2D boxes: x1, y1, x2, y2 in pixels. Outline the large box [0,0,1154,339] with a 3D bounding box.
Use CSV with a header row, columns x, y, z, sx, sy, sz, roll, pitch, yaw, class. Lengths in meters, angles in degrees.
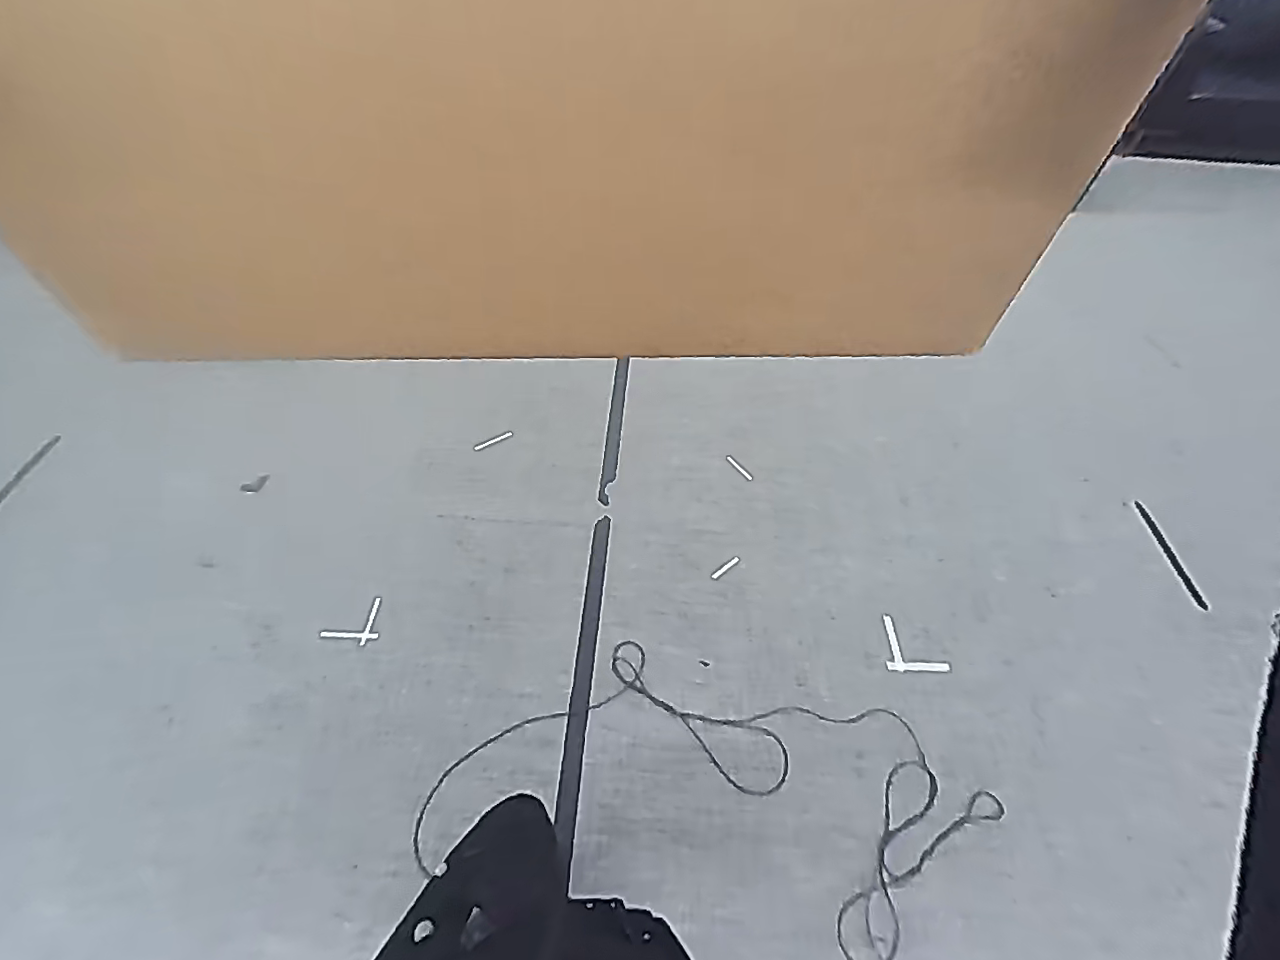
x,y,z,sx,sy,sz,roll,pitch,yaw,class
-0.039,-0.276,0.236,0.408,0.320,0.320,-1,52,-4,large box
